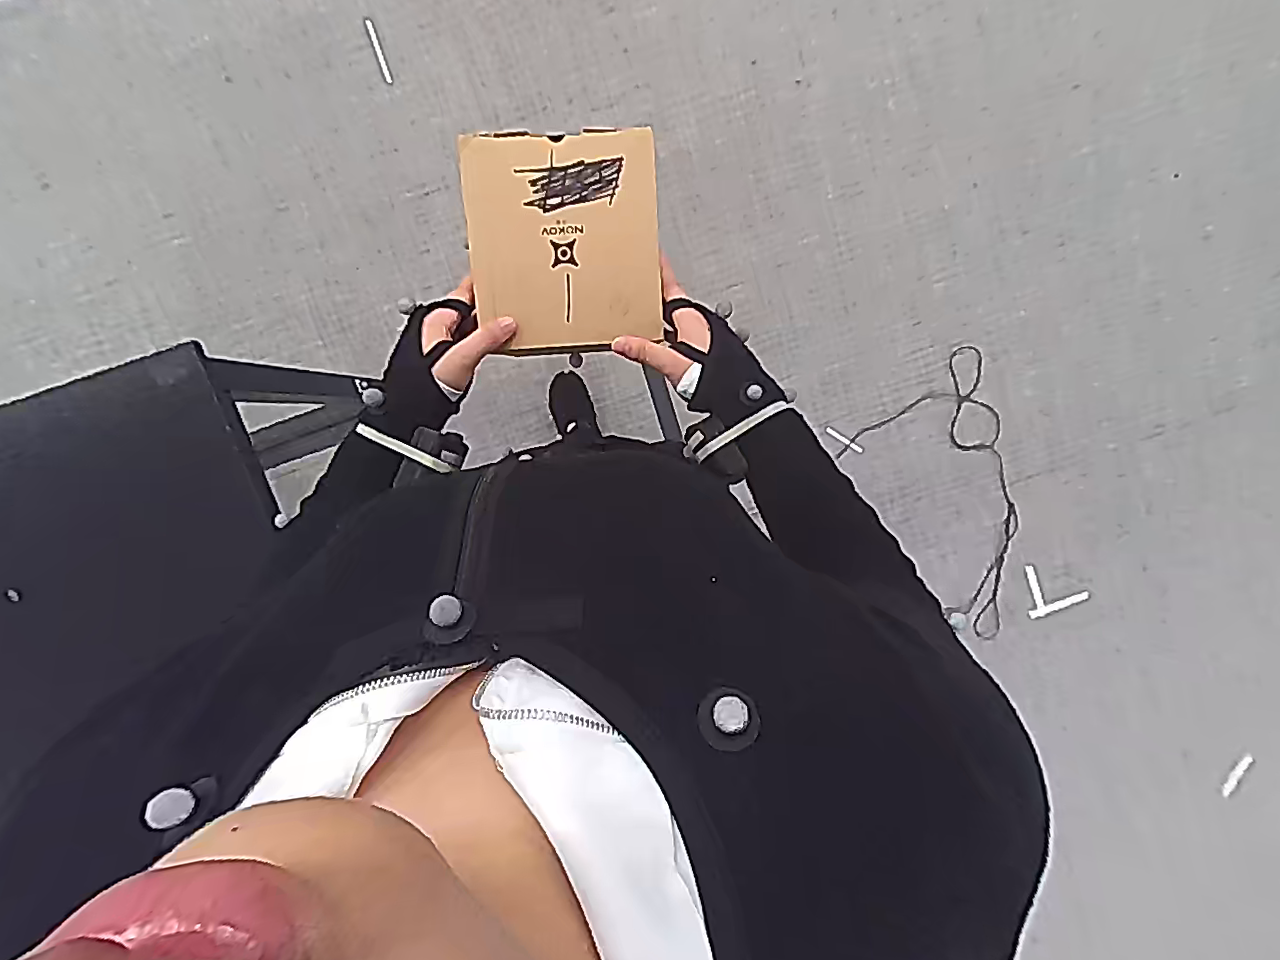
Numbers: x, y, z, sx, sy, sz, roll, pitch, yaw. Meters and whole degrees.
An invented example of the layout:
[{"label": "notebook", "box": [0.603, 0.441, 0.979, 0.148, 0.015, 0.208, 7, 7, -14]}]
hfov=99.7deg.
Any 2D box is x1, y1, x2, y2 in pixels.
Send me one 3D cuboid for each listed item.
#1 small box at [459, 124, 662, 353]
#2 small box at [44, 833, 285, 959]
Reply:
[{"label": "small box", "box": [-0.070, -0.224, 0.542, 0.168, 0.176, 0.179, -4, 102, -2]}, {"label": "small box", "box": [-0.625, 0.624, 0.732, 0.179, 0.176, 0.168, -19, 95, 2]}]
